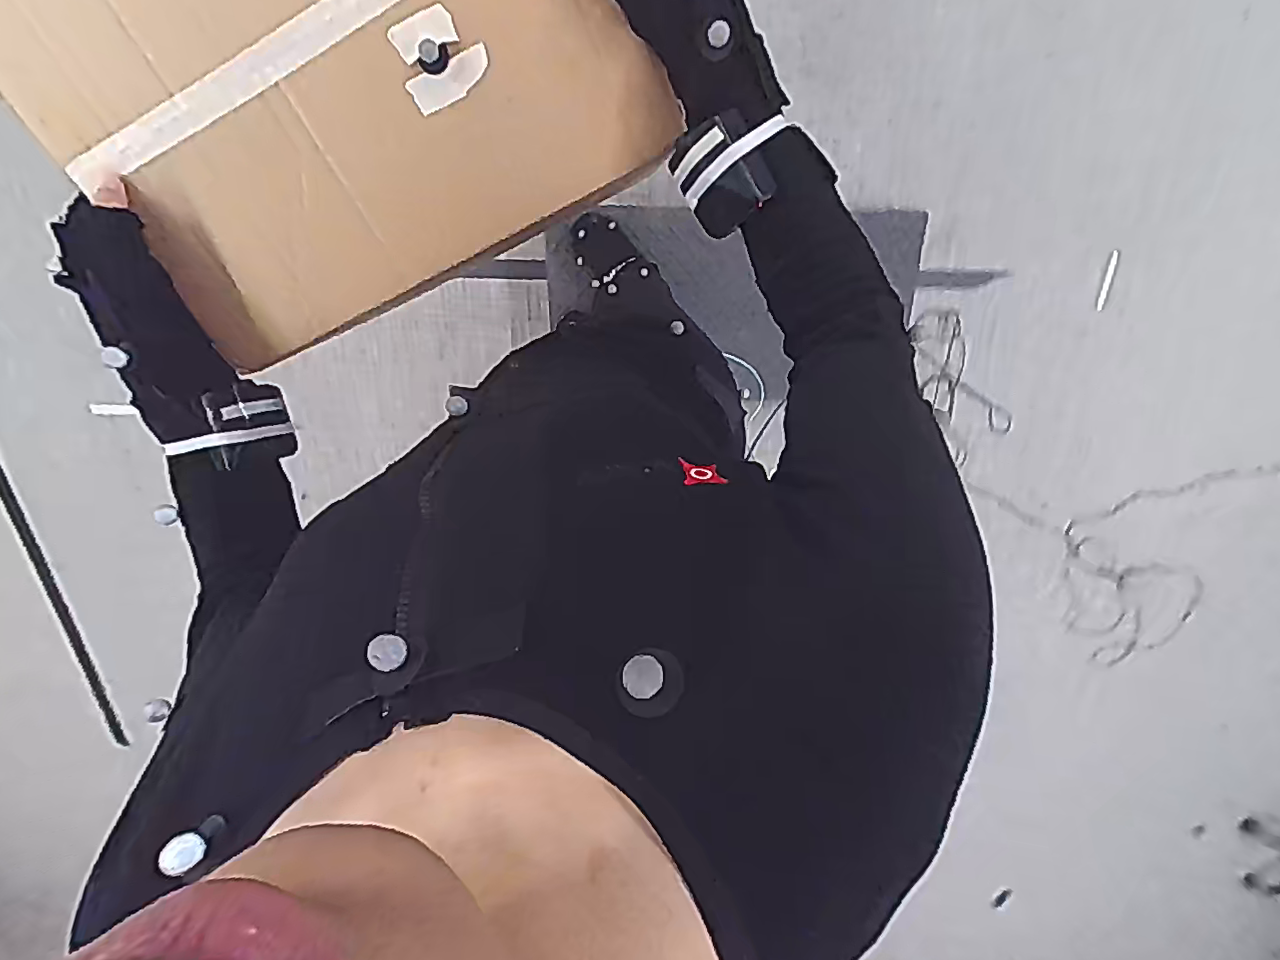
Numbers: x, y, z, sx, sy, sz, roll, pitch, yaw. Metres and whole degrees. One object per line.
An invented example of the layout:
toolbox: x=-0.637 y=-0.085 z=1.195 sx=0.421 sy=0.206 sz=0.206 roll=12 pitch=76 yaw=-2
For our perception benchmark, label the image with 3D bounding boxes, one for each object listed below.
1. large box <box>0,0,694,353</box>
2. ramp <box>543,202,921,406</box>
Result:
large box: x=-0.207 y=-0.368 z=0.501 sx=0.408 sy=0.320 sz=0.320 roll=-23 pitch=115 yaw=7
ramp: x=0.259 y=-0.466 z=1.437 sx=0.991 sy=0.206 sz=0.509 roll=-2 pitch=110 yaw=1
